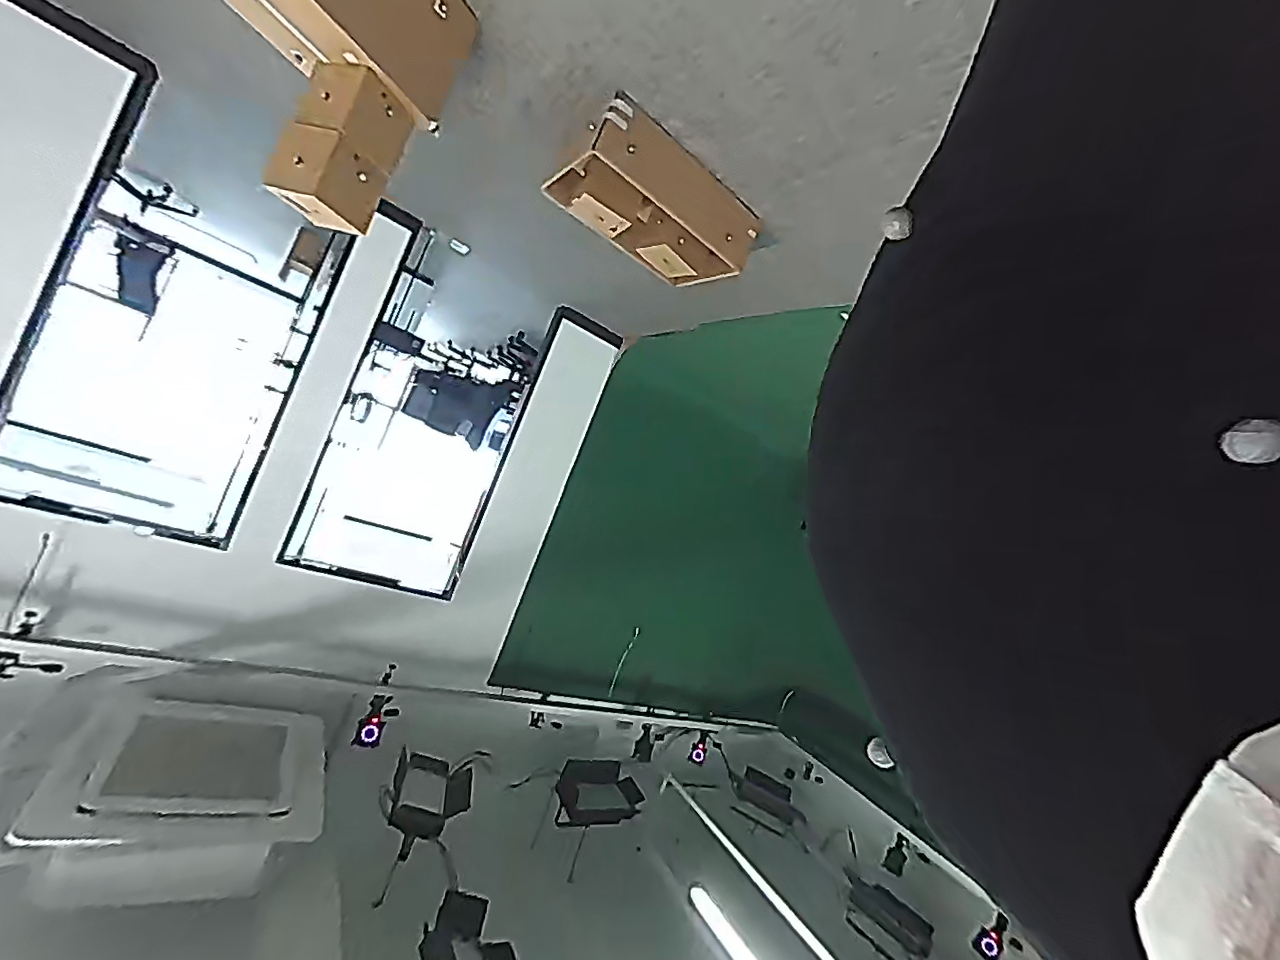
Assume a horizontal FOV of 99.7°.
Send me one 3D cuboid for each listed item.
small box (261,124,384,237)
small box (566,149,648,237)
[{"bbox_3d":[-0.773,-0.738,1.332,0.179,0.176,0.168,19,177,16],"label":"small box"},{"bbox_3d":[-0.104,-0.916,1.719,0.179,0.176,0.168,23,177,-28],"label":"small box"}]
